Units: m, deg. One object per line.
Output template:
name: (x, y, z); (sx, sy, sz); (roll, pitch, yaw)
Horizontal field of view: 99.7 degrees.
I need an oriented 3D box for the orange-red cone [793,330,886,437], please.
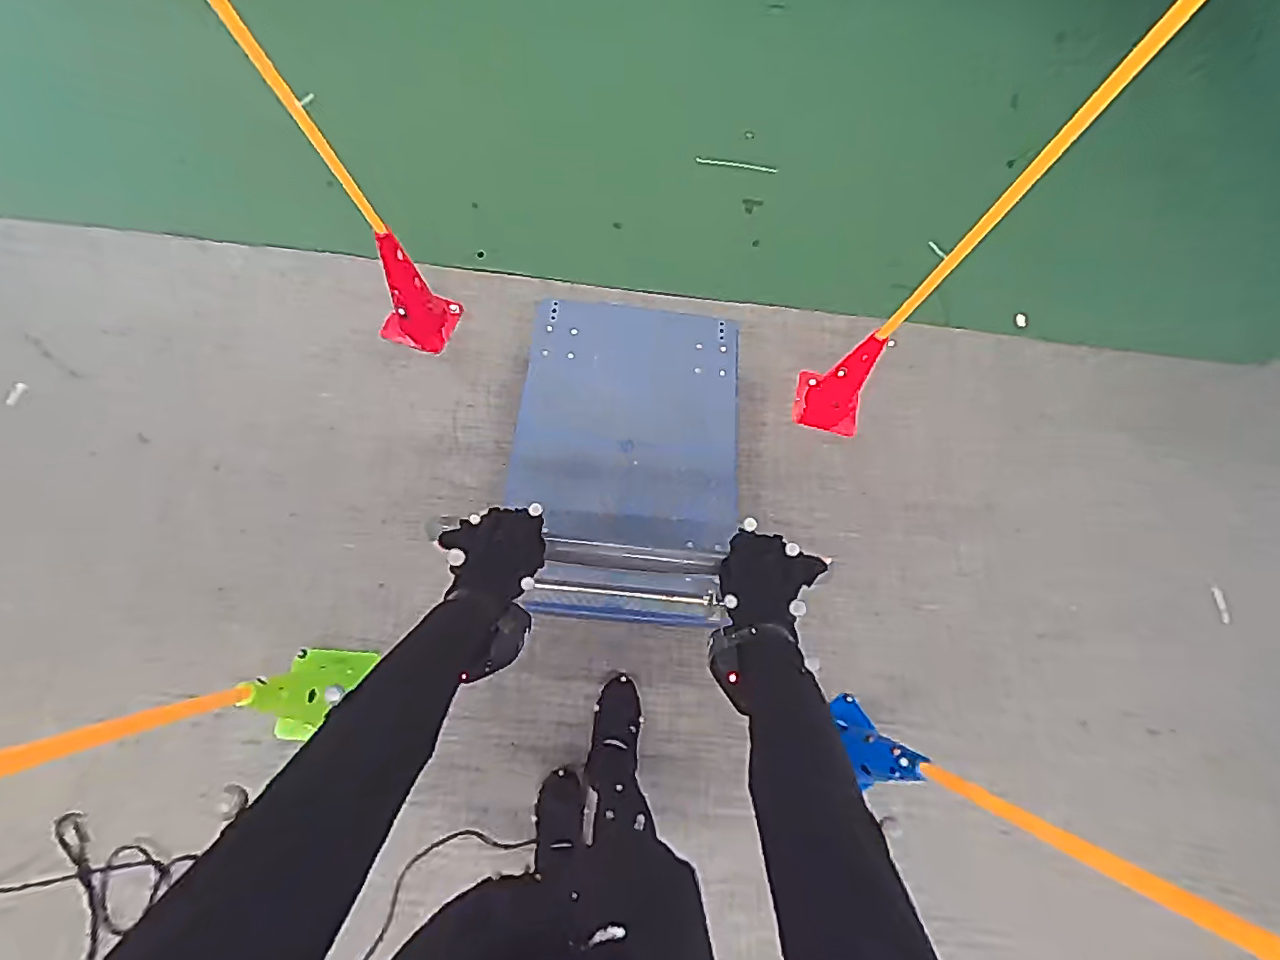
orange-red cone: (0.601, -0.302, 1.545); (0.198, 0.360, 0.199); (16, 68, 2)
